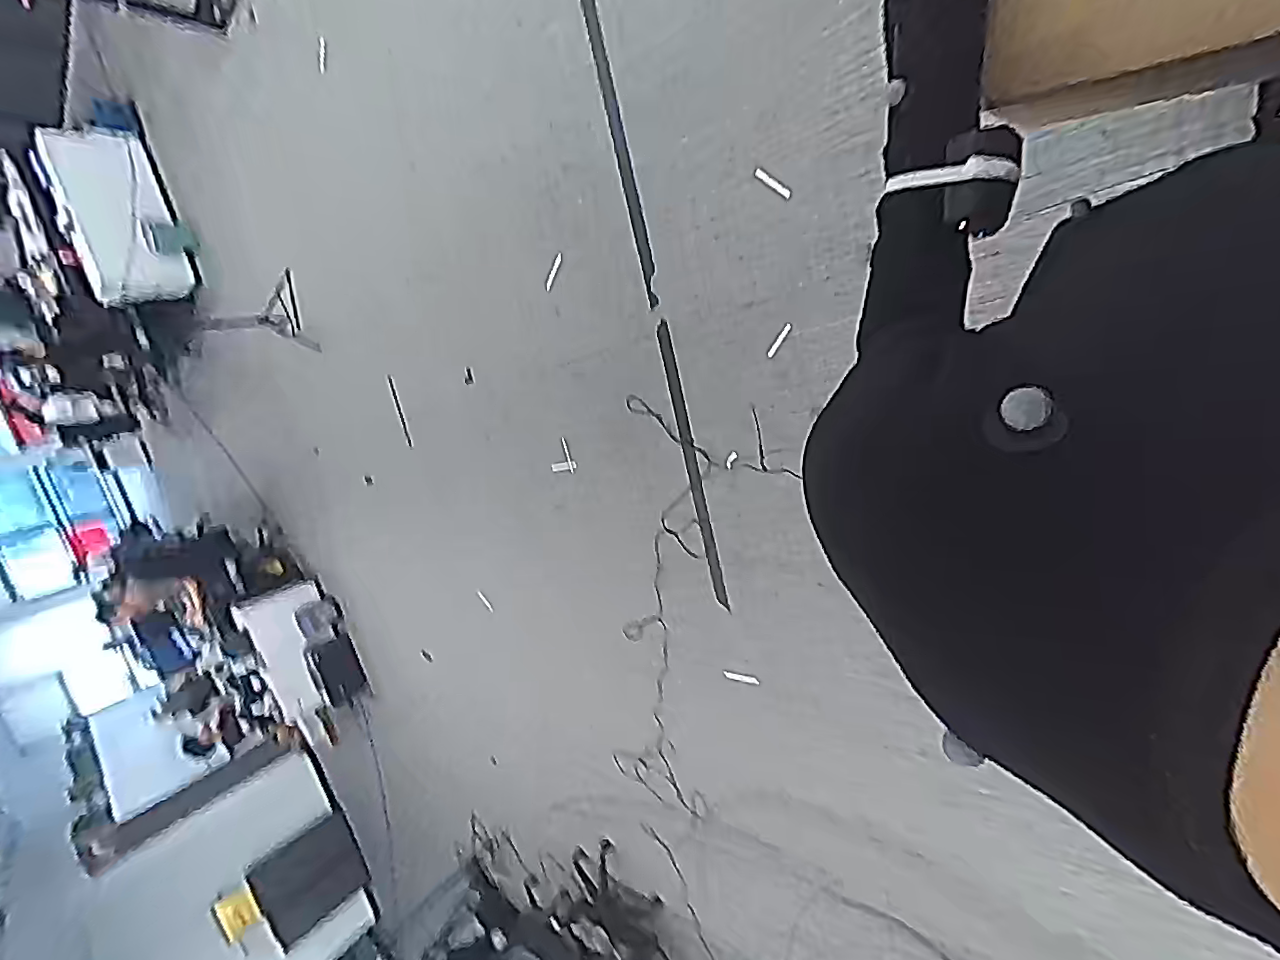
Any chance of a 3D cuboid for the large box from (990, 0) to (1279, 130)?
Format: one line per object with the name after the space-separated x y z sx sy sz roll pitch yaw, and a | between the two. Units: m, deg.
0.488 -0.464 0.350 0.408 0.320 0.320 8 119 37 | large box
